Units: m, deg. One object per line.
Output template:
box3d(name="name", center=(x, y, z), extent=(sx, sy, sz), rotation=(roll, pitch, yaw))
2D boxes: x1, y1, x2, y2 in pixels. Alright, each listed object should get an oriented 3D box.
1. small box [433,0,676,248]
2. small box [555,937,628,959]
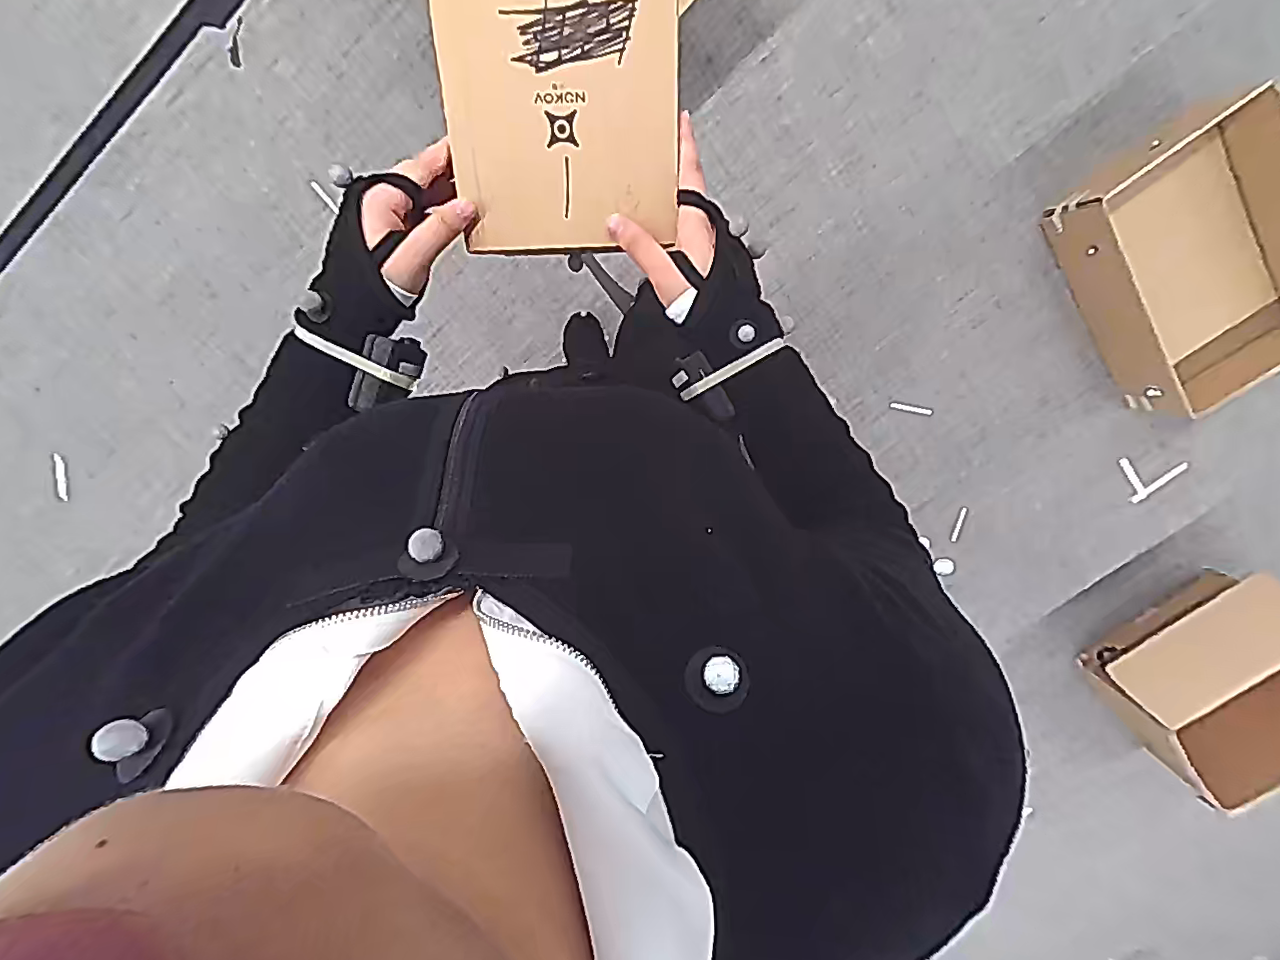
box3d(name="small box", center=(-0.061, -0.297, 0.457), extent=(0.168, 0.176, 0.179), rotation=(-2, 112, -2))
box3d(name="small box", center=(-0.095, 1.000, 0.994), extent=(0.168, 0.176, 0.179), rotation=(43, 102, -13))
